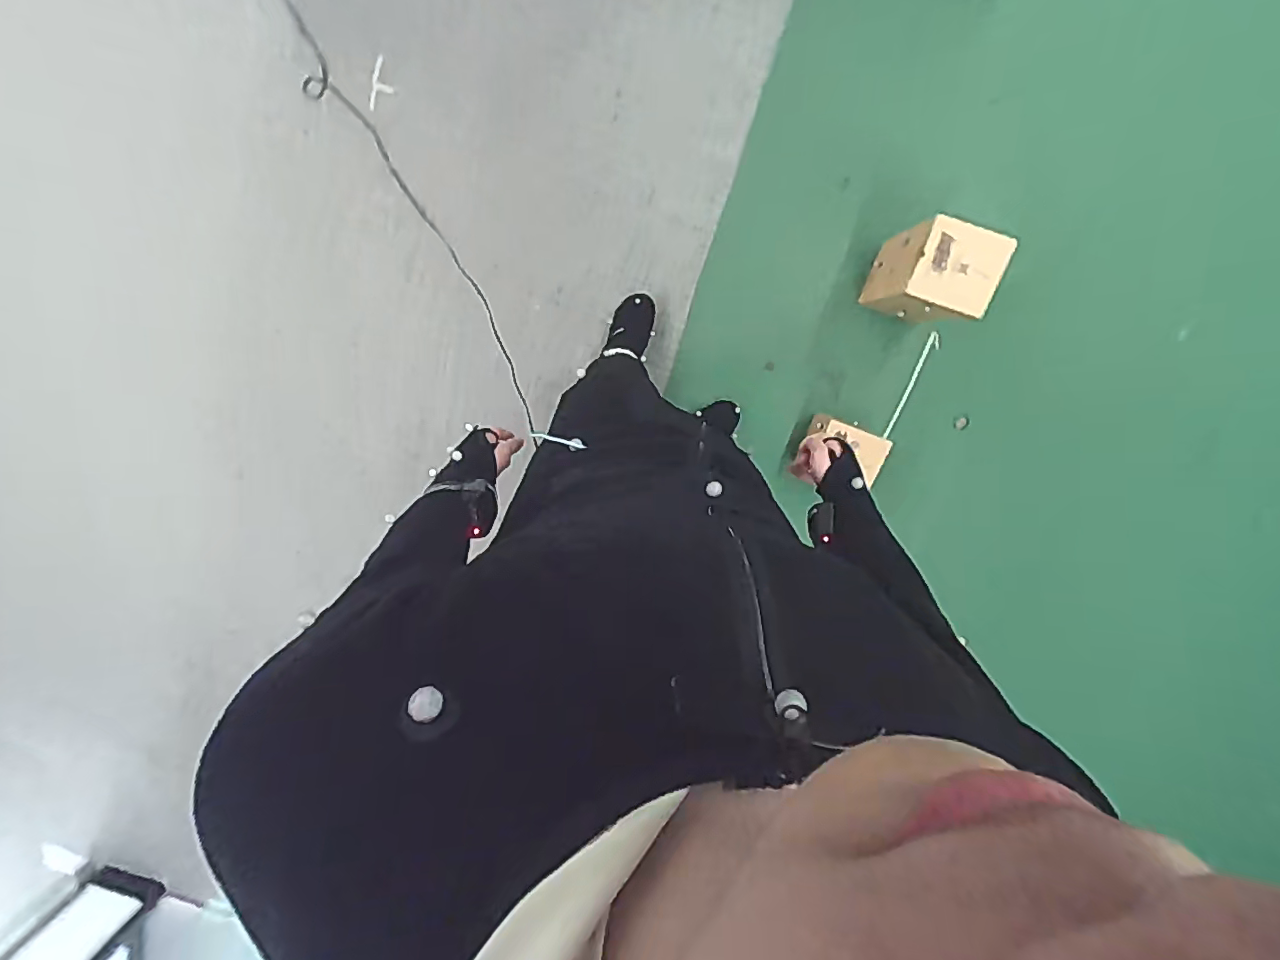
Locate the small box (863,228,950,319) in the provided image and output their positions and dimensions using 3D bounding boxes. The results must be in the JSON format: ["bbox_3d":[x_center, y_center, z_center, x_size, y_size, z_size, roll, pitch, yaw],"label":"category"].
[{"bbox_3d":[0.700,-0.513,1.366,0.179,0.176,0.168,19,105,1],"label":"small box"}]

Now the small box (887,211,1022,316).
[{"bbox_3d":[0.686,-0.473,1.207,0.179,0.176,0.168,19,106,0],"label":"small box"}]
